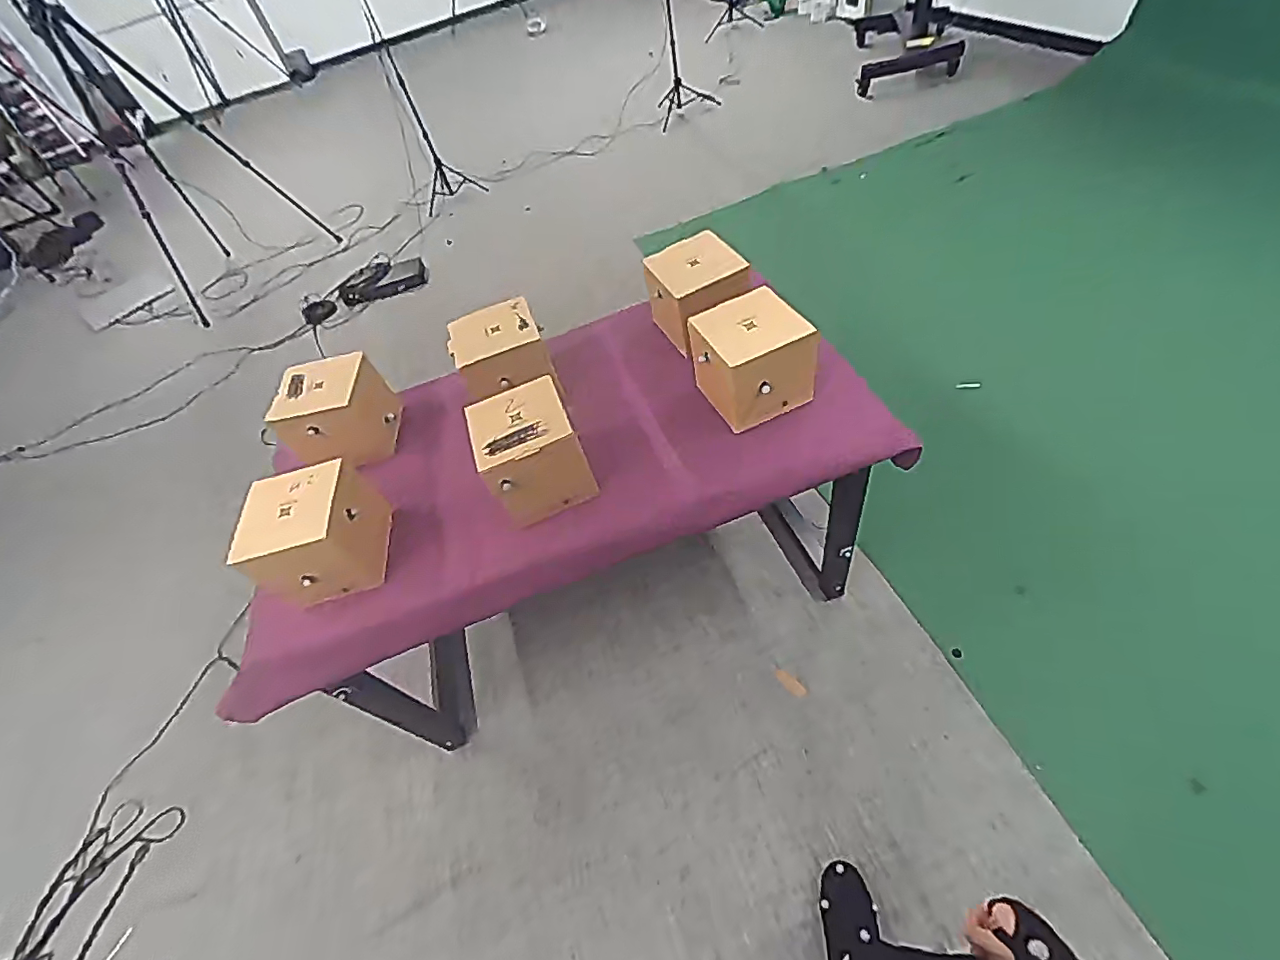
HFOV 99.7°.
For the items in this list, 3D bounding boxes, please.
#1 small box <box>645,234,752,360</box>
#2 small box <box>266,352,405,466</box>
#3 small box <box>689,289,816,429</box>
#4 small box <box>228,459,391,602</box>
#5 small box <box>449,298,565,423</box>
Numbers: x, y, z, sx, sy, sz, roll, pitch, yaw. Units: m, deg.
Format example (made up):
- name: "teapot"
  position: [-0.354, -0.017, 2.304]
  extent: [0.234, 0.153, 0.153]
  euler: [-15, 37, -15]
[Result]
- name: "small box"
  position: [0.128, -0.392, 1.169]
  extent: [0.168, 0.176, 0.179]
  euler: [-26, 53, -5]
- name: "small box"
  position: [-0.635, -0.140, 1.150]
  extent: [0.179, 0.176, 0.168]
  euler: [-11, 52, 3]
- name: "small box"
  position: [0.212, -0.218, 1.012]
  extent: [0.168, 0.176, 0.179]
  euler: [-24, 49, -5]
- name: "small box"
  position: [-0.561, 0.097, 0.948]
  extent: [0.168, 0.176, 0.179]
  euler: [-15, 51, 1]
- name: "small box"
  position: [-0.281, -0.250, 1.154]
  extent: [0.179, 0.176, 0.168]
  euler: [-22, 53, -3]
